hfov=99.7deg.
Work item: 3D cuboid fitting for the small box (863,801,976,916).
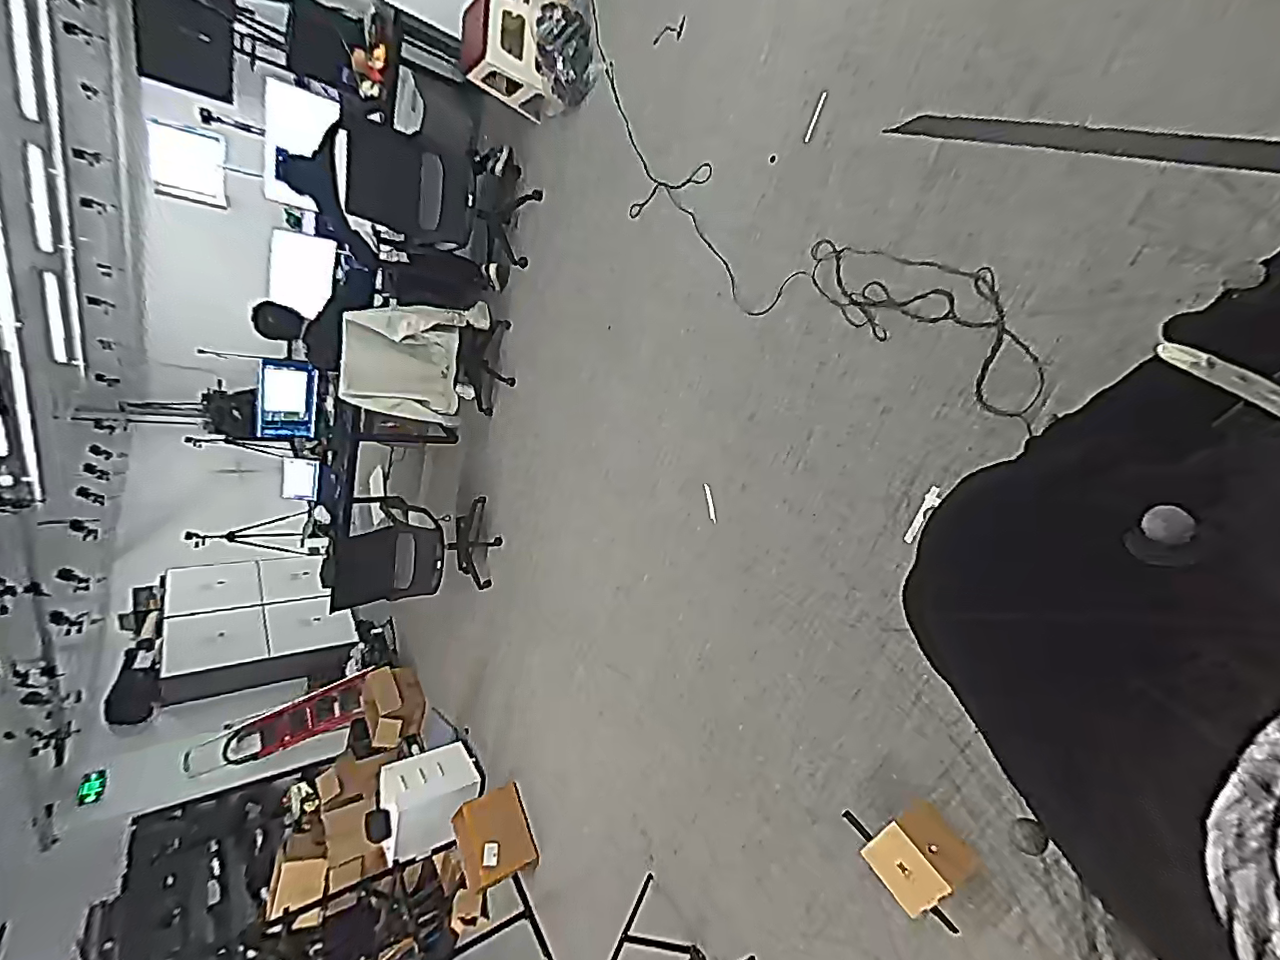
[{"bbox_3d":[0.741,0.991,1.435,0.179,0.176,0.168,47,125,38],"label":"small box"}]
